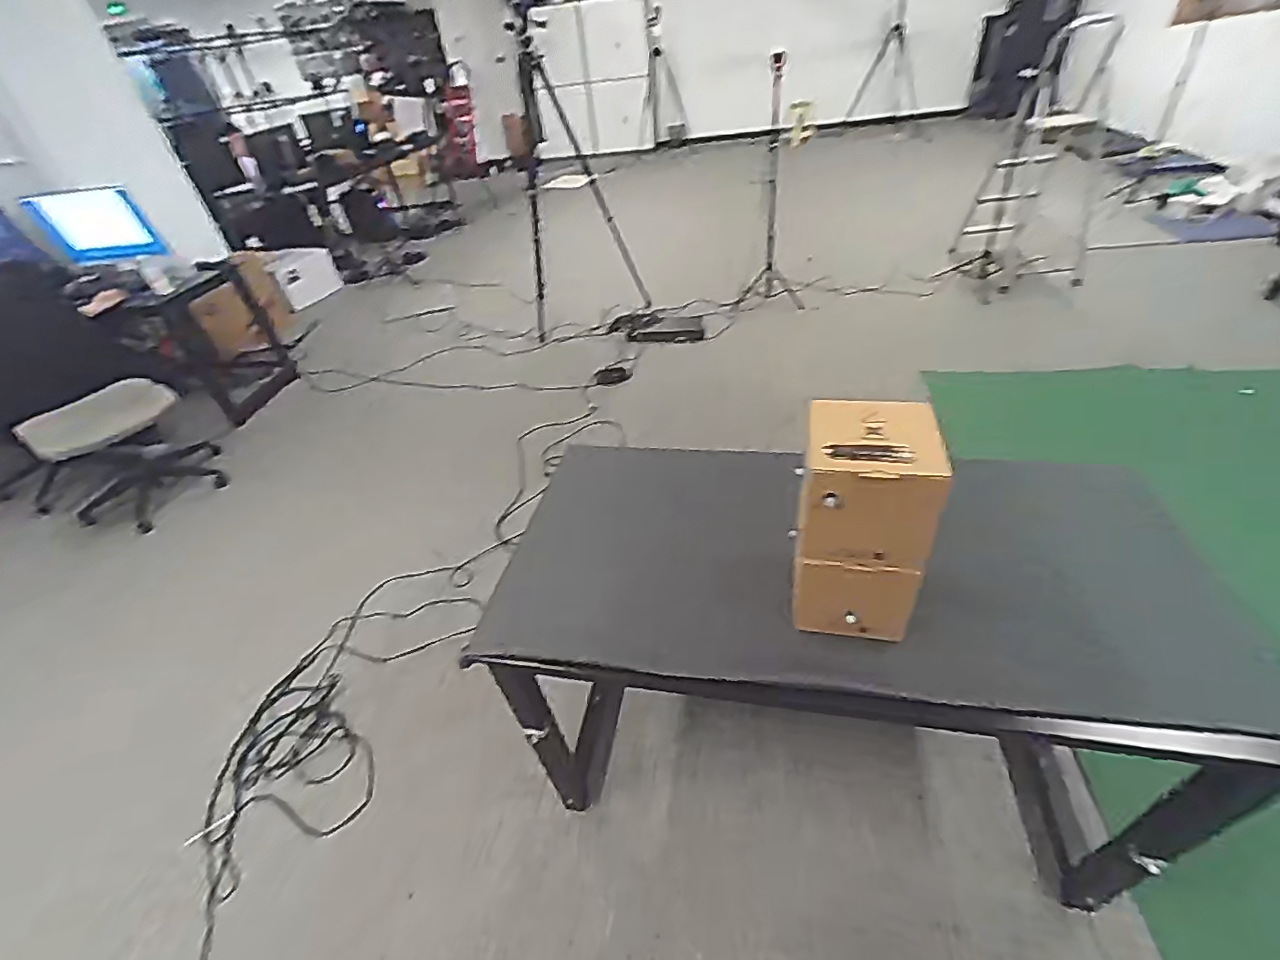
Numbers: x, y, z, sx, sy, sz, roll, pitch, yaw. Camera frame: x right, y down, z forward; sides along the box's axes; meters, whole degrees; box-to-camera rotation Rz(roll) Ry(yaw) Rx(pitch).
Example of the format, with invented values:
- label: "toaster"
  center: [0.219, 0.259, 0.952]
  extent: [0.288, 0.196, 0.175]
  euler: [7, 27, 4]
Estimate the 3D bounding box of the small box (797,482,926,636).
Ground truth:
- label: "small box"
  center: [0.347, 0.125, 0.880]
  extent: [0.168, 0.176, 0.179]
  euler: [3, 41, 15]
